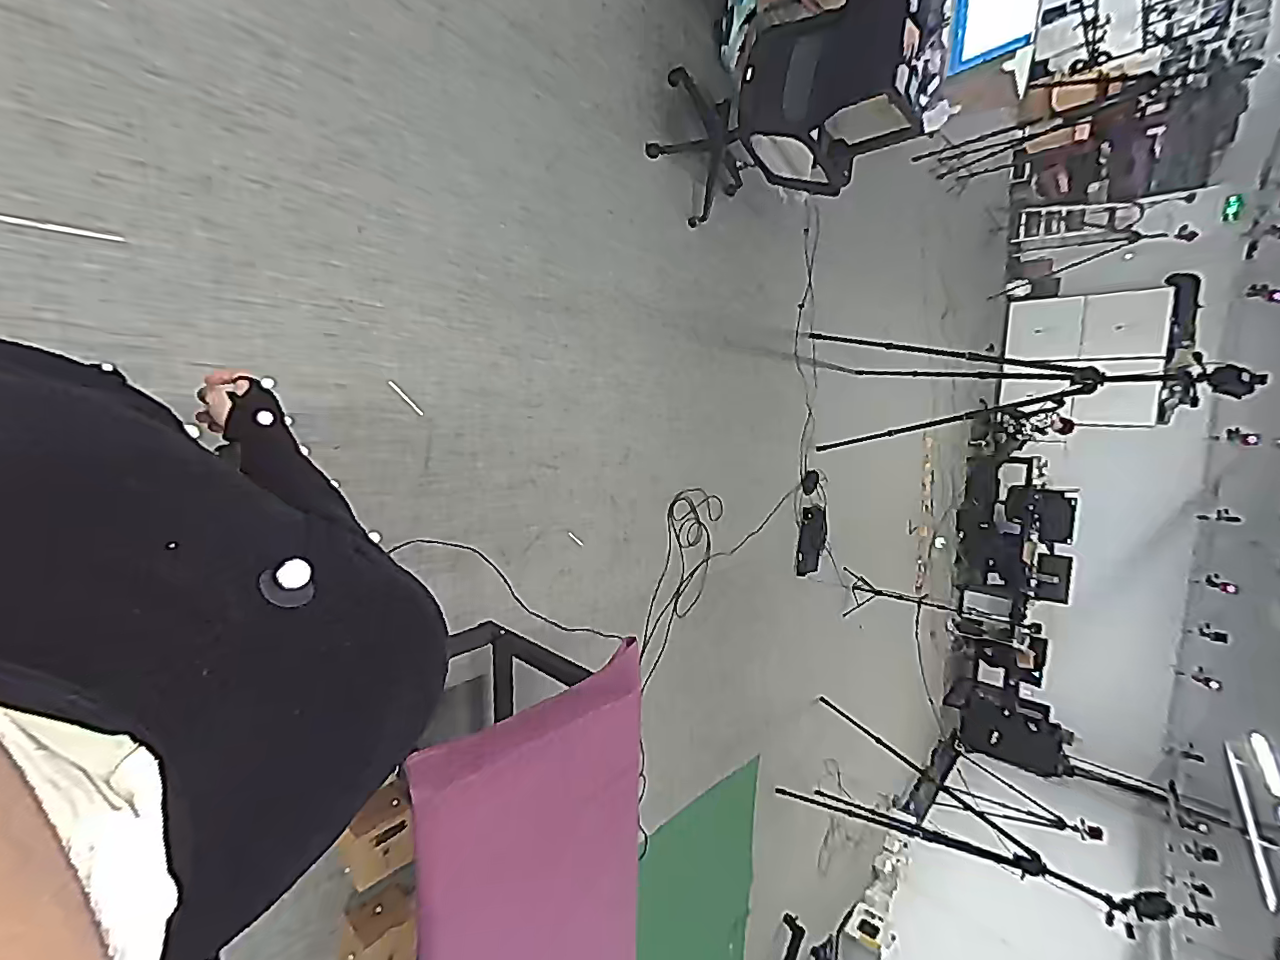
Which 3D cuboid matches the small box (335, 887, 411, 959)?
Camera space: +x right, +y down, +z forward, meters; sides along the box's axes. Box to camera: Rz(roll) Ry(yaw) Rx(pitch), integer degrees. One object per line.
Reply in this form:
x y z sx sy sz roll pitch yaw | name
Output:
-0.834 1.421 1.684 0.168 0.176 0.179 -2 97 -47 | small box
